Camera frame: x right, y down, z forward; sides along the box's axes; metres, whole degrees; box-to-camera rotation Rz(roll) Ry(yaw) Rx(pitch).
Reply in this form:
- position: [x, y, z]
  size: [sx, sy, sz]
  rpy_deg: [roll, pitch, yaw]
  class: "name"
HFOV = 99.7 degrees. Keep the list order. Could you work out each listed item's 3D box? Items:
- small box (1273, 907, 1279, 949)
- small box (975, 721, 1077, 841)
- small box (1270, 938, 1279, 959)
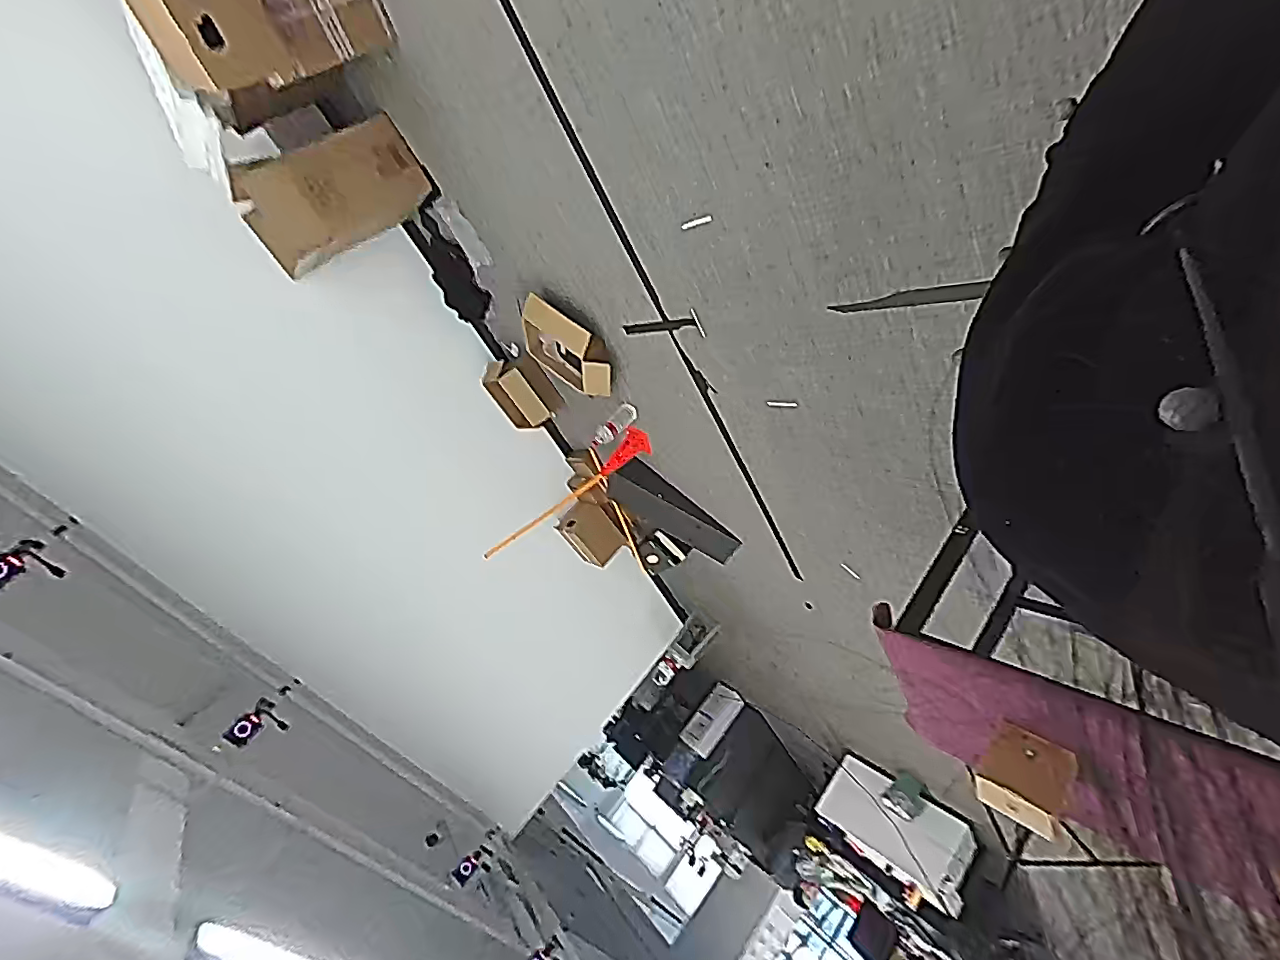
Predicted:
- position: [1.267, 0.808, 0.957]
  size: [0.168, 0.176, 0.179]
  rpy_deg: [14, 144, 51]
  class: "small box"
- position: [0.970, 0.749, 1.359]
  size: [0.168, 0.176, 0.179]
  rpy_deg: [17, 146, 47]
  class: "small box"
- position: [1.164, 0.922, 0.898]
  size: [0.168, 0.176, 0.179]
  rpy_deg: [13, 143, 51]
  class: "small box"
